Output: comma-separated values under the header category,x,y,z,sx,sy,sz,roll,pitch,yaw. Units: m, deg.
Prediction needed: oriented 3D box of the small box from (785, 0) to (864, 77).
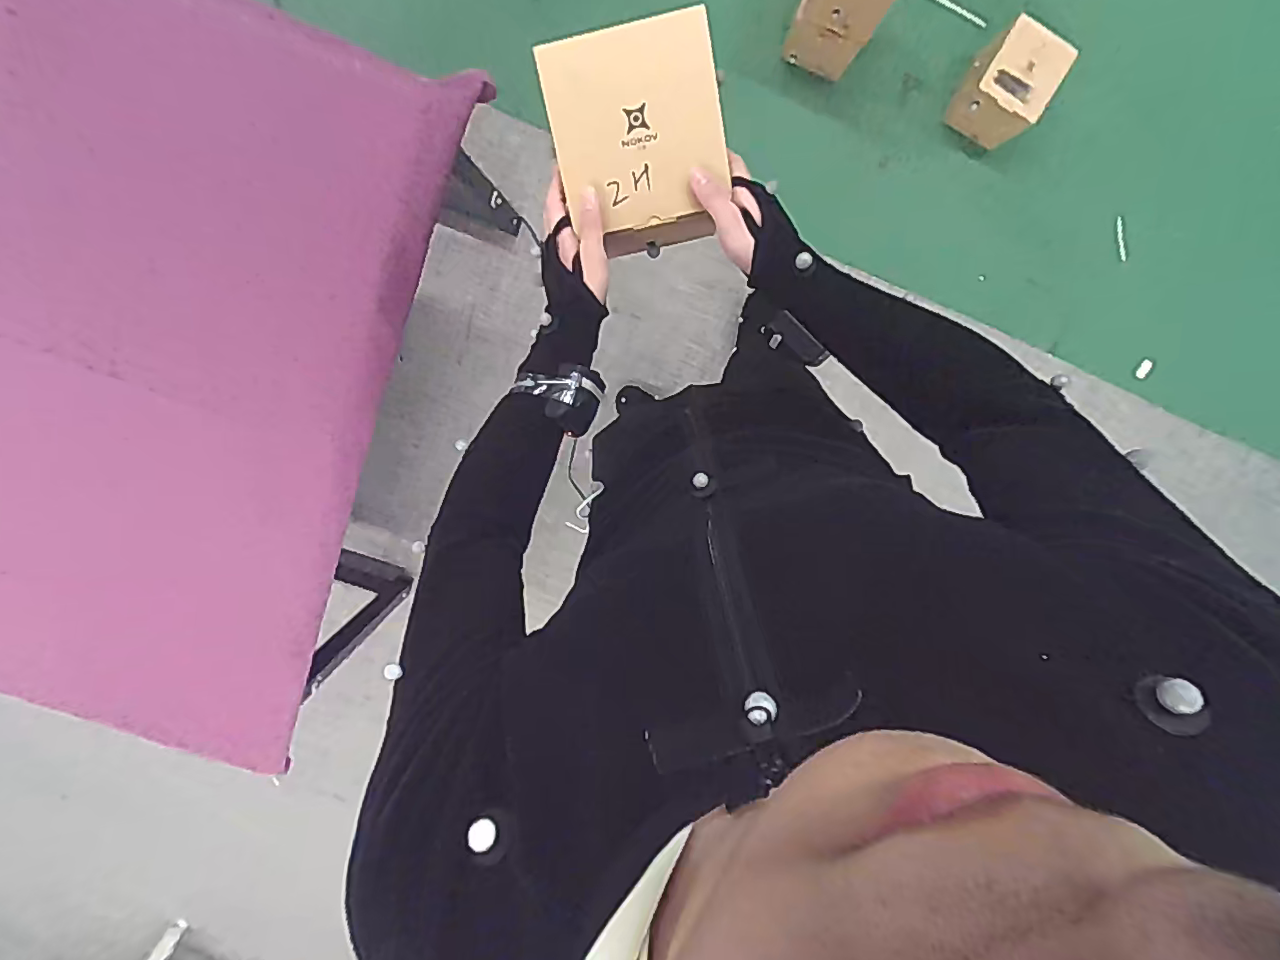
category,x,y,z,sx,sy,sz,roll,pitch,yaw
small box,0.464,-1.121,1.296,0.168,0.176,0.179,19,101,-4

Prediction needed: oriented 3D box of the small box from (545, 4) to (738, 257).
category,x,y,z,sx,sy,sz,roll,pitch,yaw
small box,0.004,-0.362,0.598,0.168,0.176,0.179,-10,105,4

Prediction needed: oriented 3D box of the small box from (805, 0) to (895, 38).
category,x,y,z,sx,sy,sz,roll,pitch,yaw
small box,0.469,-1.093,1.136,0.168,0.176,0.179,18,102,-4
